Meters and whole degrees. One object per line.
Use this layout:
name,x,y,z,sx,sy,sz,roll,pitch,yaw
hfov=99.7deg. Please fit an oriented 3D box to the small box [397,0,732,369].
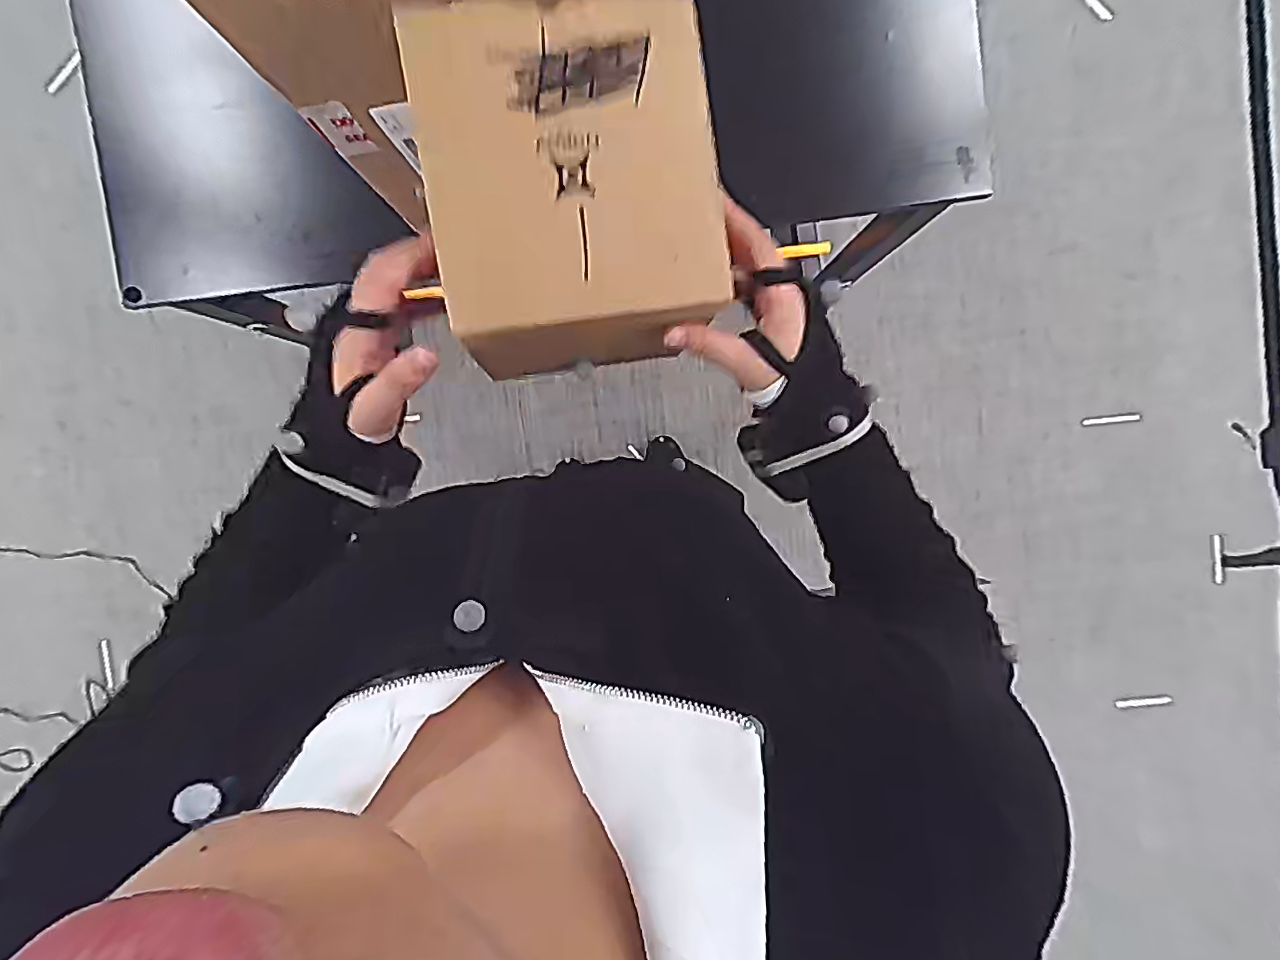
small box,-0.049,-0.186,0.375,0.168,0.176,0.179,-9,93,-7
